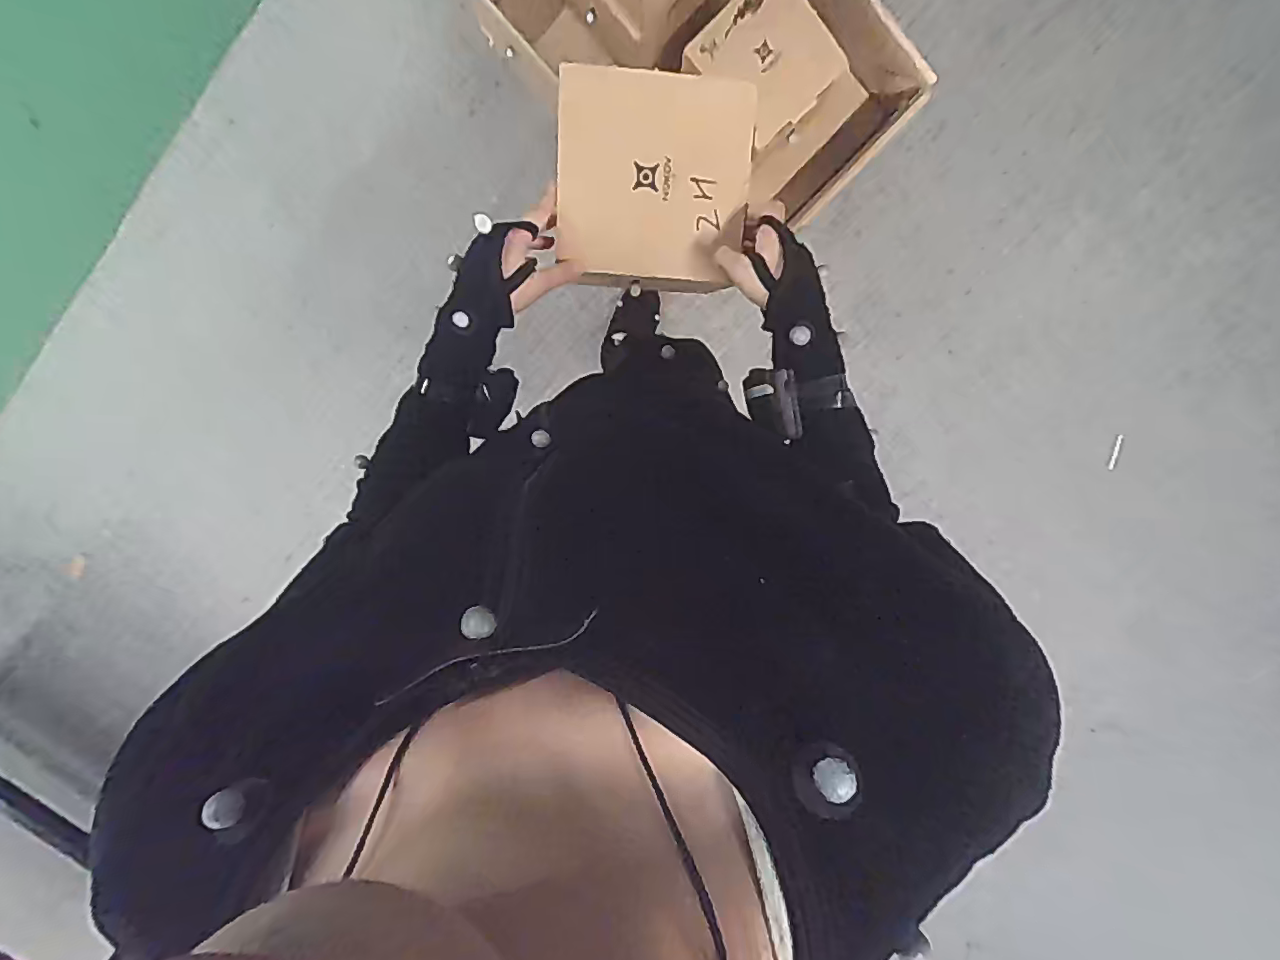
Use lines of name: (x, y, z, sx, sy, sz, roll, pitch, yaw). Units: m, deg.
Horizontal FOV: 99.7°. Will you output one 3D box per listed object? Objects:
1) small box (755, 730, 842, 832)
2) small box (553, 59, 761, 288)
small box: (0.472, 0.905, 1.642, 0.168, 0.176, 0.179, 42, 101, -8)
small box: (0.009, -0.291, 0.553, 0.179, 0.176, 0.168, 2, 106, -4)
